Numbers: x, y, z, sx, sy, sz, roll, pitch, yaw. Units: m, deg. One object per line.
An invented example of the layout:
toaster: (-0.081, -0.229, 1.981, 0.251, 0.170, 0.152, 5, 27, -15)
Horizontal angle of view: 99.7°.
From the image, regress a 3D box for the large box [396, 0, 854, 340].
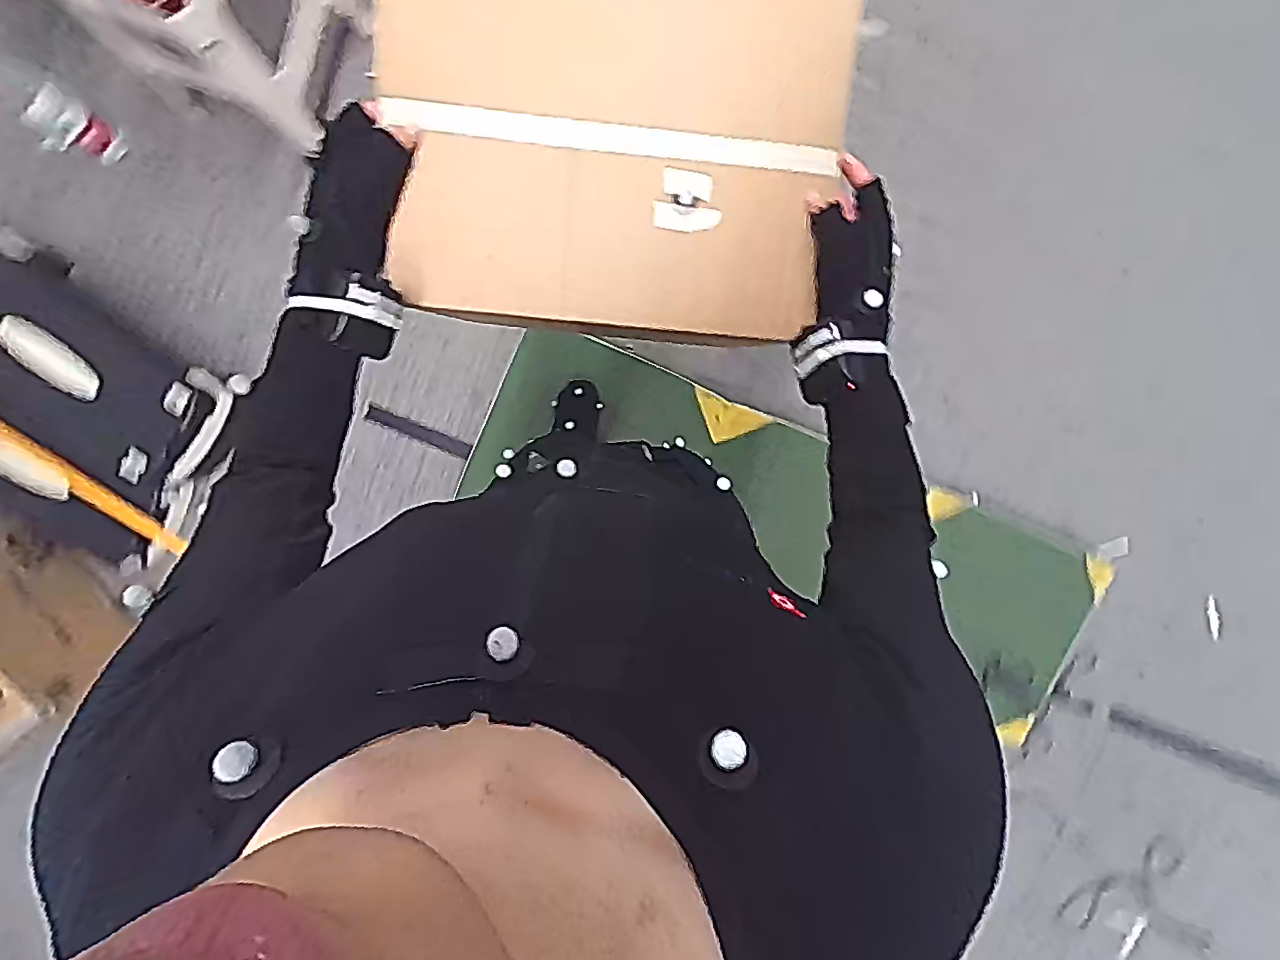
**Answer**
large box: (-0.029, -0.344, 0.637, 0.408, 0.320, 0.320, 5, 103, -5)
